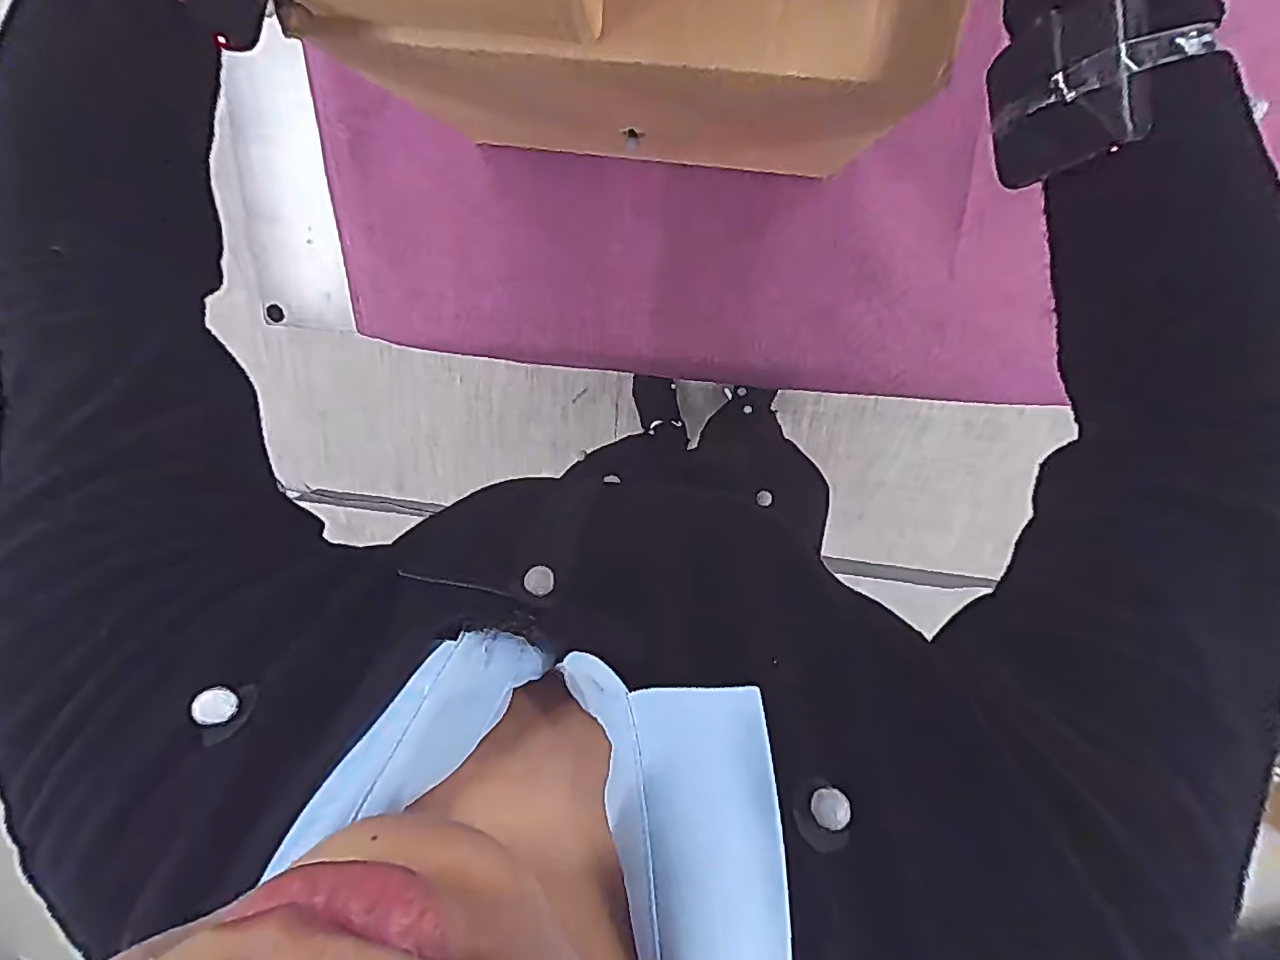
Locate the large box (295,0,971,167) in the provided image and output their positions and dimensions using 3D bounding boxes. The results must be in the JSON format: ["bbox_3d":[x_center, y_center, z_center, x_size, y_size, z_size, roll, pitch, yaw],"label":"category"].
[{"bbox_3d":[0.012,-0.445,0.407,0.408,0.320,0.320,7,110,4],"label":"large box"}]
